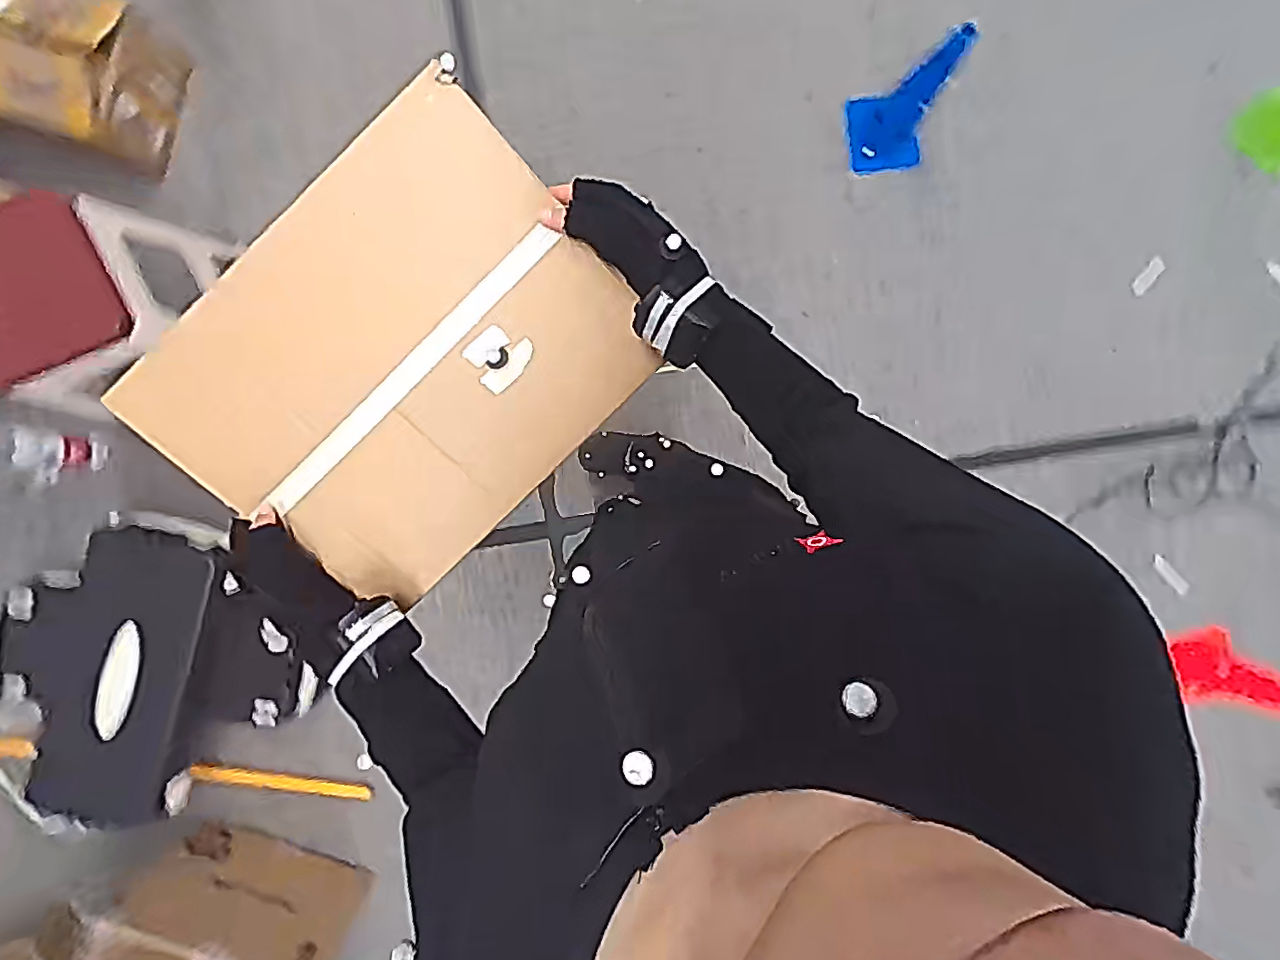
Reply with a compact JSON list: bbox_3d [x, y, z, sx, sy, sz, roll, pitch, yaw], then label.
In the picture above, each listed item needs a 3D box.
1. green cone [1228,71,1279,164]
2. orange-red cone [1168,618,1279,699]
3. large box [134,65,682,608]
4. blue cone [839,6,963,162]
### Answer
[{"bbox_3d":[1.781,-1.012,1.344,0.202,0.368,0.200,42,89,-2],"label":"green cone"},{"bbox_3d":[1.650,0.518,1.405,0.199,0.360,0.198,-13,94,-4],"label":"orange-red cone"},{"bbox_3d":[-0.222,-0.139,0.642,0.408,0.320,0.320,-43,105,2],"label":"large box"},{"bbox_3d":[0.651,-0.963,1.309,0.193,0.380,0.192,-7,92,-3],"label":"blue cone"}]
